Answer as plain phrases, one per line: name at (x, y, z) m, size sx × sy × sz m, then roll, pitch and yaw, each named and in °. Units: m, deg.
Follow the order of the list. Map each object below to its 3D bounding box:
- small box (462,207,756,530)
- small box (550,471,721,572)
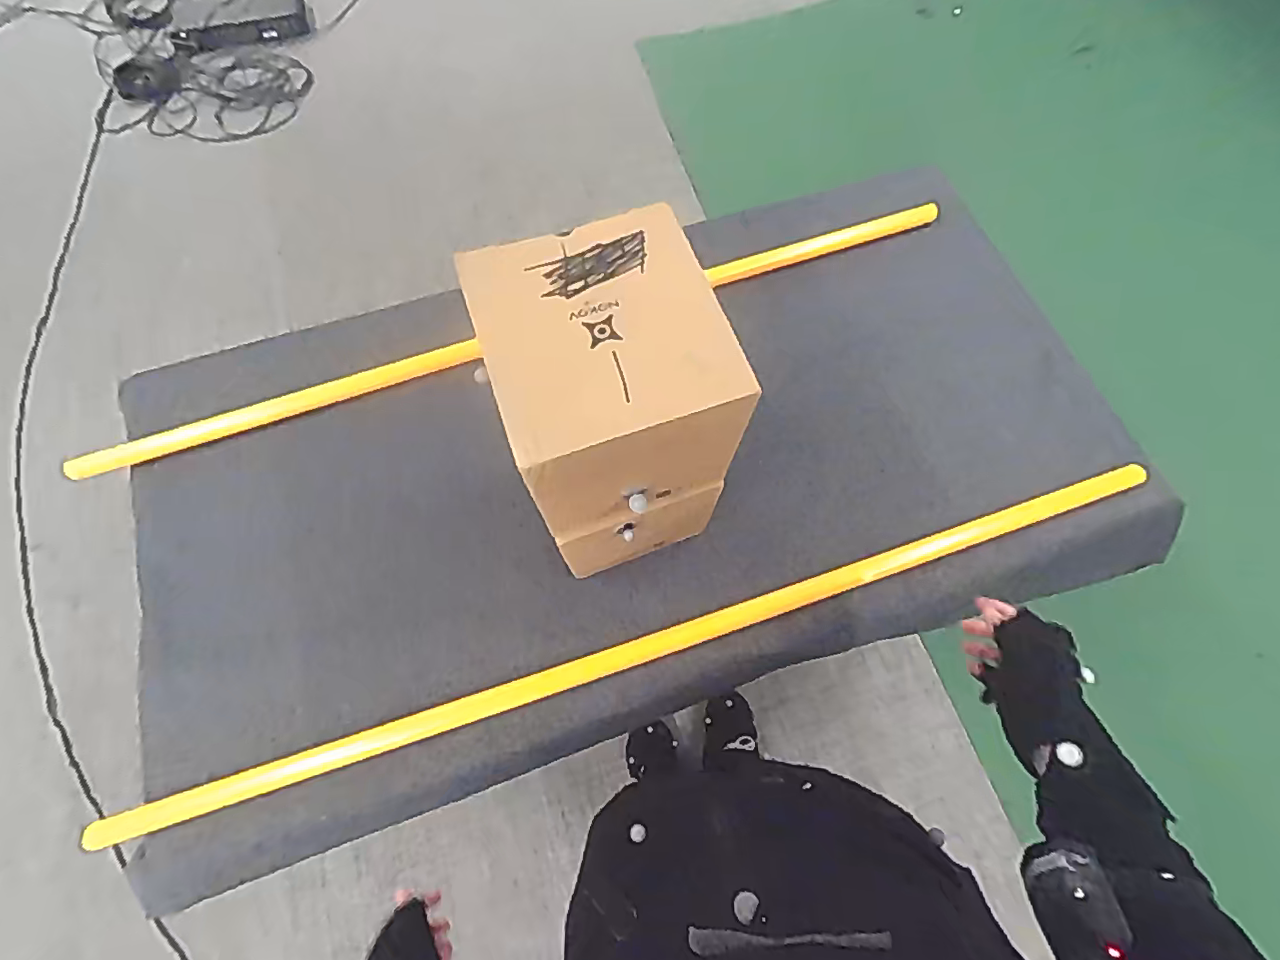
small box at (-0.028, -0.080, 0.448) m, size 0.168 × 0.176 × 0.179 m, roll -18°, pitch 71°, yaw -7°
small box at (-0.028, -0.018, 0.601) m, size 0.168 × 0.176 × 0.179 m, roll -20°, pitch 70°, yaw -7°
